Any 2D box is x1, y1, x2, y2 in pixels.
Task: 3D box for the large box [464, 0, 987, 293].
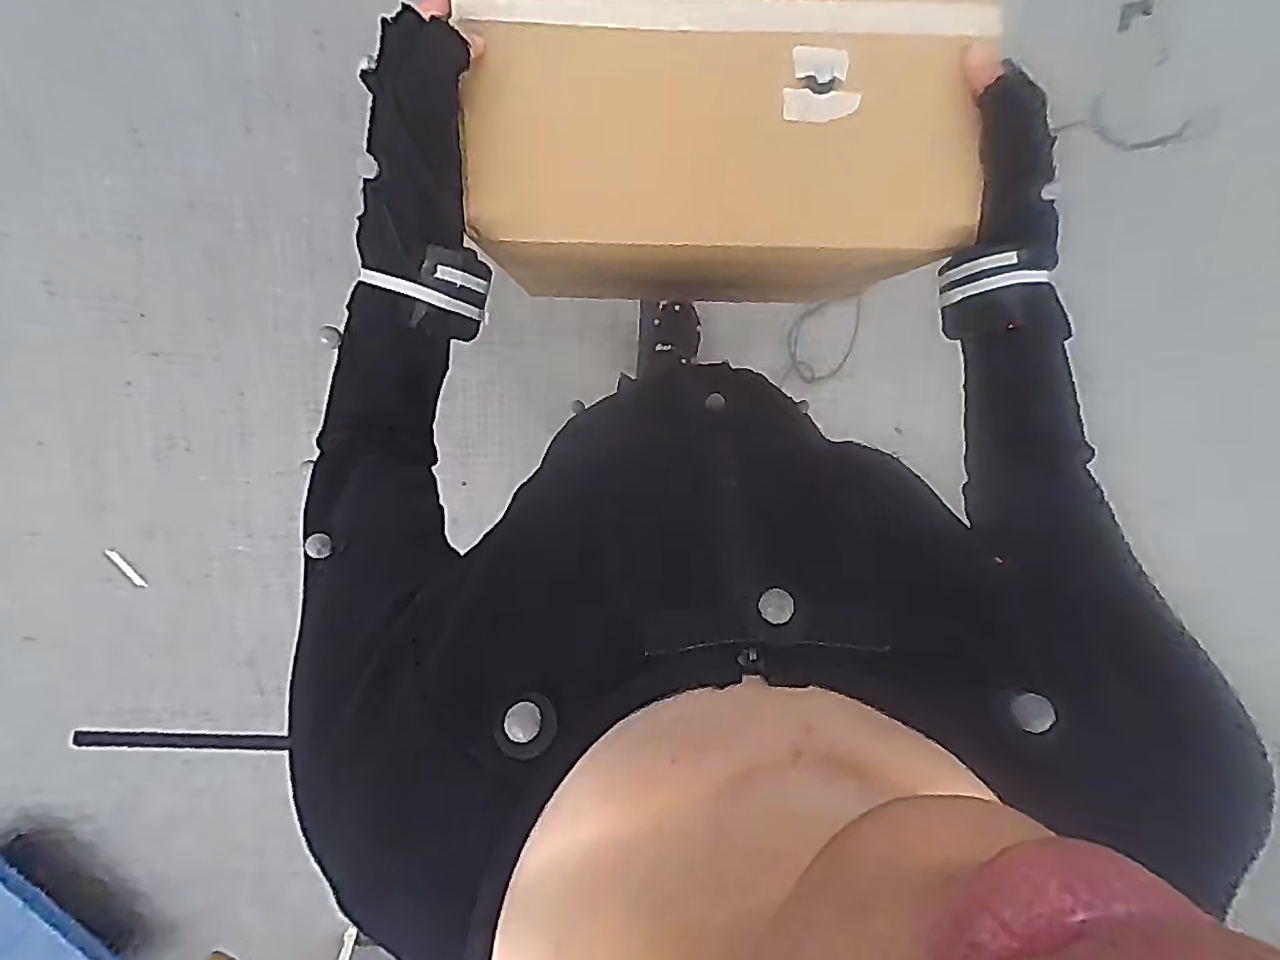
[{"bbox_3d":[0.058,-0.378,0.552,0.408,0.320,0.320,0,101,-3],"label":"large box"}]
